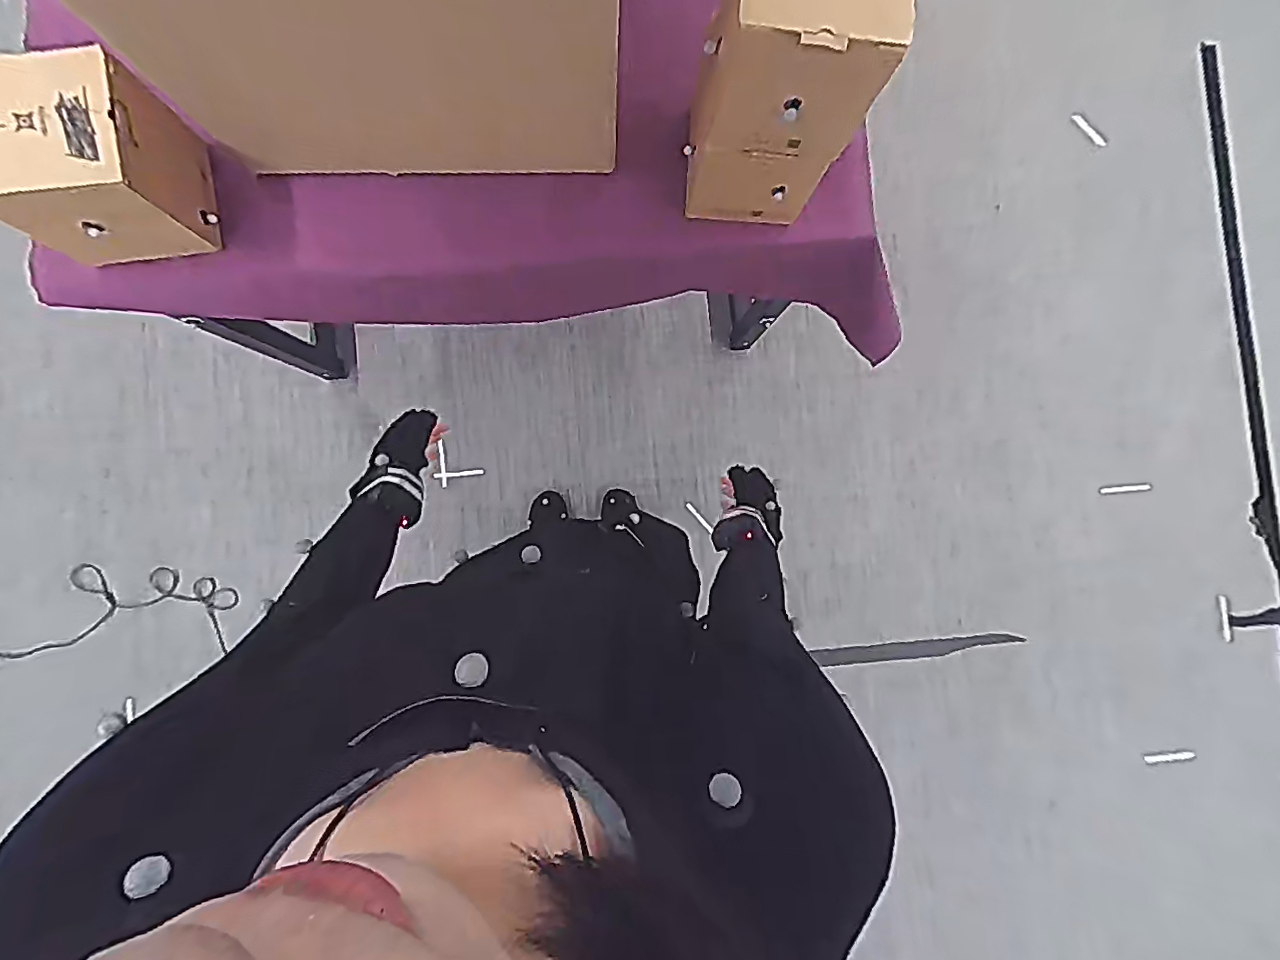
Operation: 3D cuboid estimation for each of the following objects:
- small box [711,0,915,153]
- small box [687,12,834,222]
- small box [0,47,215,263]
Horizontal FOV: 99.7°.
[{"bbox_3d":[0.177,-0.491,0.582,0.168,0.176,0.179,7,88,-4],"label":"small box"},{"bbox_3d":[0.159,-0.483,0.746,0.168,0.176,0.179,3,86,-4],"label":"small box"},{"bbox_3d":[-0.685,-0.399,0.689,0.179,0.176,0.168,-10,87,-5],"label":"small box"}]
